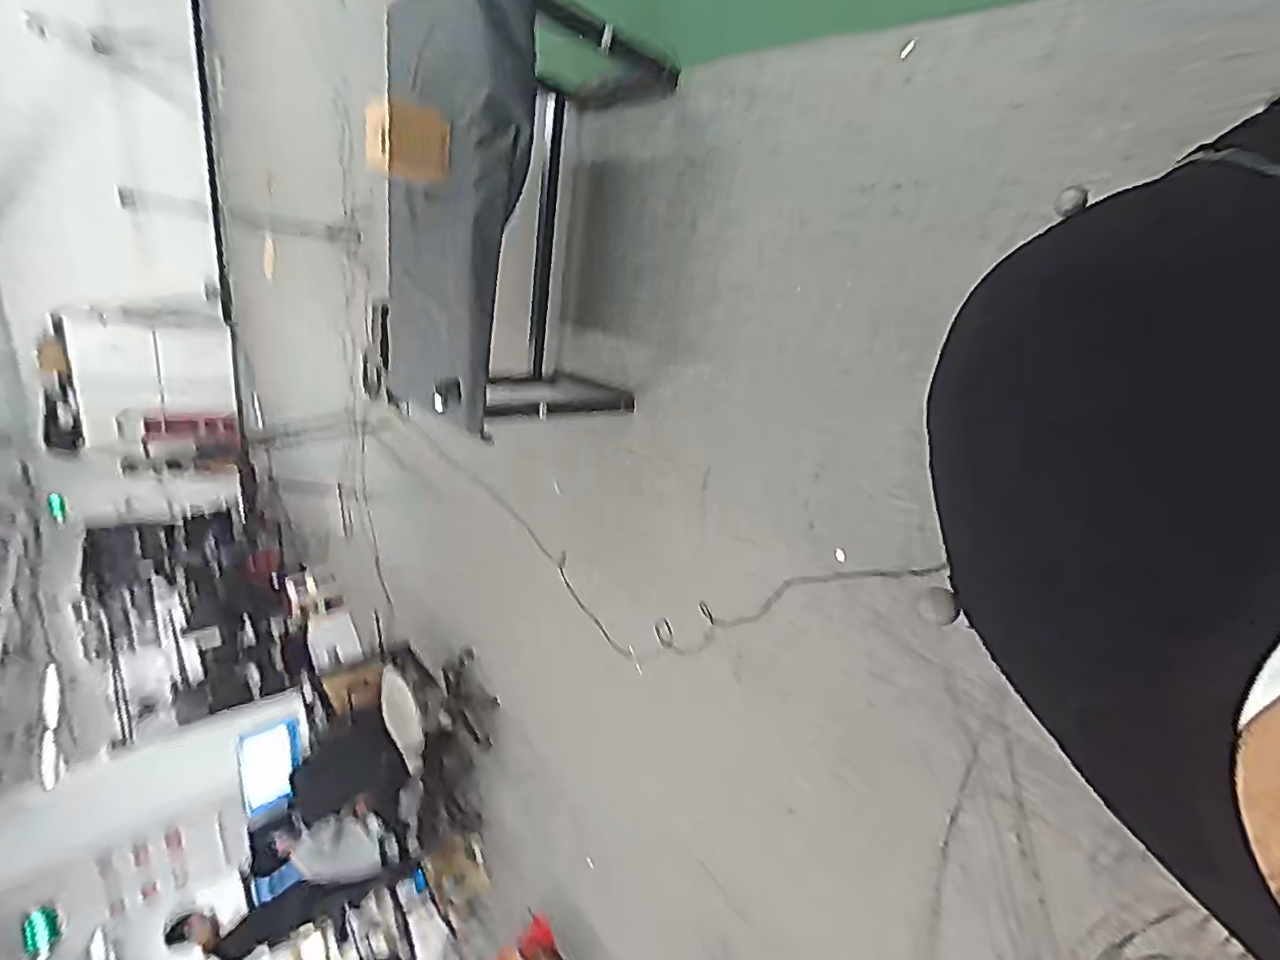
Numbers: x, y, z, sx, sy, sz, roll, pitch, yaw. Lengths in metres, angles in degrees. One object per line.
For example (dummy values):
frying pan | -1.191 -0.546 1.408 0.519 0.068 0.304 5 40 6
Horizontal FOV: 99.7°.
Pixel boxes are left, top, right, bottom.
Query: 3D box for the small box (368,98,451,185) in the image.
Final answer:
small box | -0.642 -0.938 1.509 0.179 0.176 0.168 28 116 41
